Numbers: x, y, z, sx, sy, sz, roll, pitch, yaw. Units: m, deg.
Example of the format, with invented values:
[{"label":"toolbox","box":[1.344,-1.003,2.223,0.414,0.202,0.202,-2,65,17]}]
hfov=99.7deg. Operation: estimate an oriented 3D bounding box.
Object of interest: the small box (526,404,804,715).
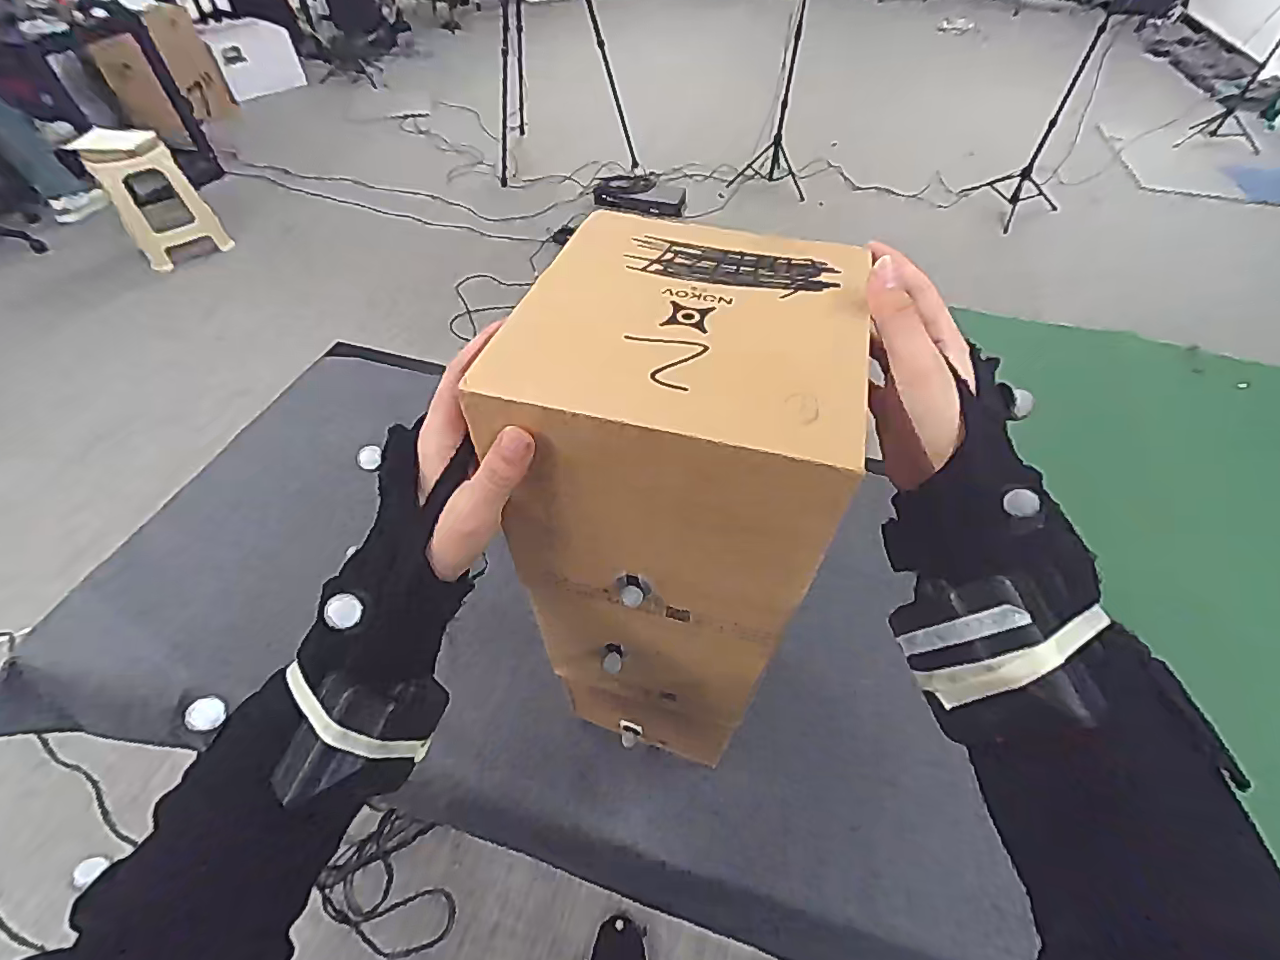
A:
[{"label":"small box","box":[0.028,0.068,0.446,0.168,0.176,0.179,13,51,11]}]

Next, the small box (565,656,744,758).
[{"label":"small box","box":[0.033,0.166,0.576,0.168,0.176,0.179,14,53,11]}]
